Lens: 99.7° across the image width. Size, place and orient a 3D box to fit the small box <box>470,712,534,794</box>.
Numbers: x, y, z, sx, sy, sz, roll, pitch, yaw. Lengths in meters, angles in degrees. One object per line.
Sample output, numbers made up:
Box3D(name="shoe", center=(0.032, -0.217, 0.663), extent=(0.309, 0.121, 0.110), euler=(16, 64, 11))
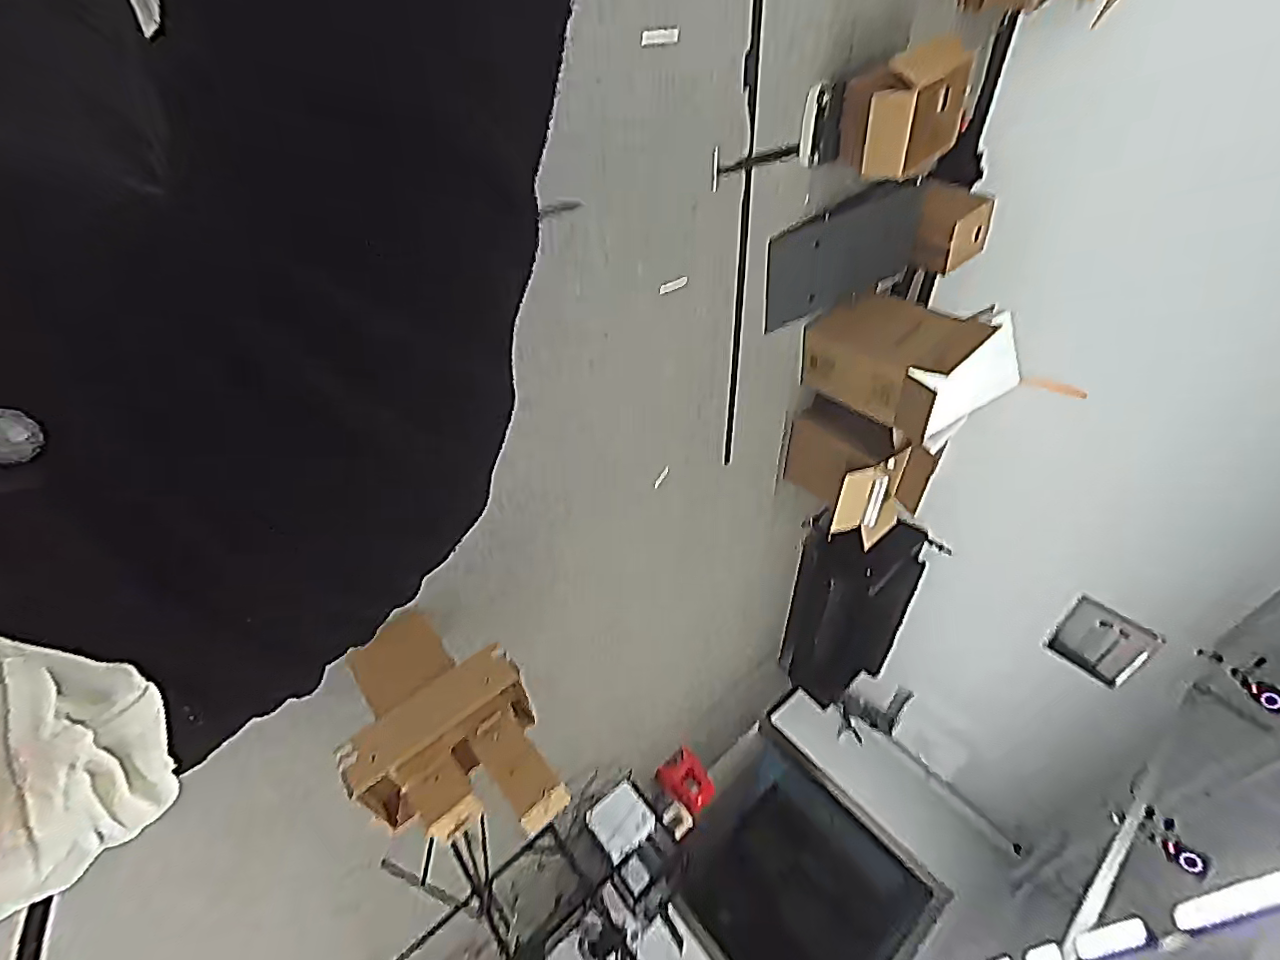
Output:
Box3D(name="small box", center=(-0.475, 0.962, 1.913), extent=(0.168, 0.176, 0.179), euler=(-34, 140, -26))

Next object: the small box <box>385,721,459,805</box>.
Box3D(name="small box", center=(-0.762, 0.984, 1.892), extent=(0.168, 0.176, 0.179), euler=(-31, 138, -30))

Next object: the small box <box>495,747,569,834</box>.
Box3D(name="small box", center=(-0.362, 1.040, 1.821), extent=(0.168, 0.176, 0.179), euler=(-34, 141, -26))
